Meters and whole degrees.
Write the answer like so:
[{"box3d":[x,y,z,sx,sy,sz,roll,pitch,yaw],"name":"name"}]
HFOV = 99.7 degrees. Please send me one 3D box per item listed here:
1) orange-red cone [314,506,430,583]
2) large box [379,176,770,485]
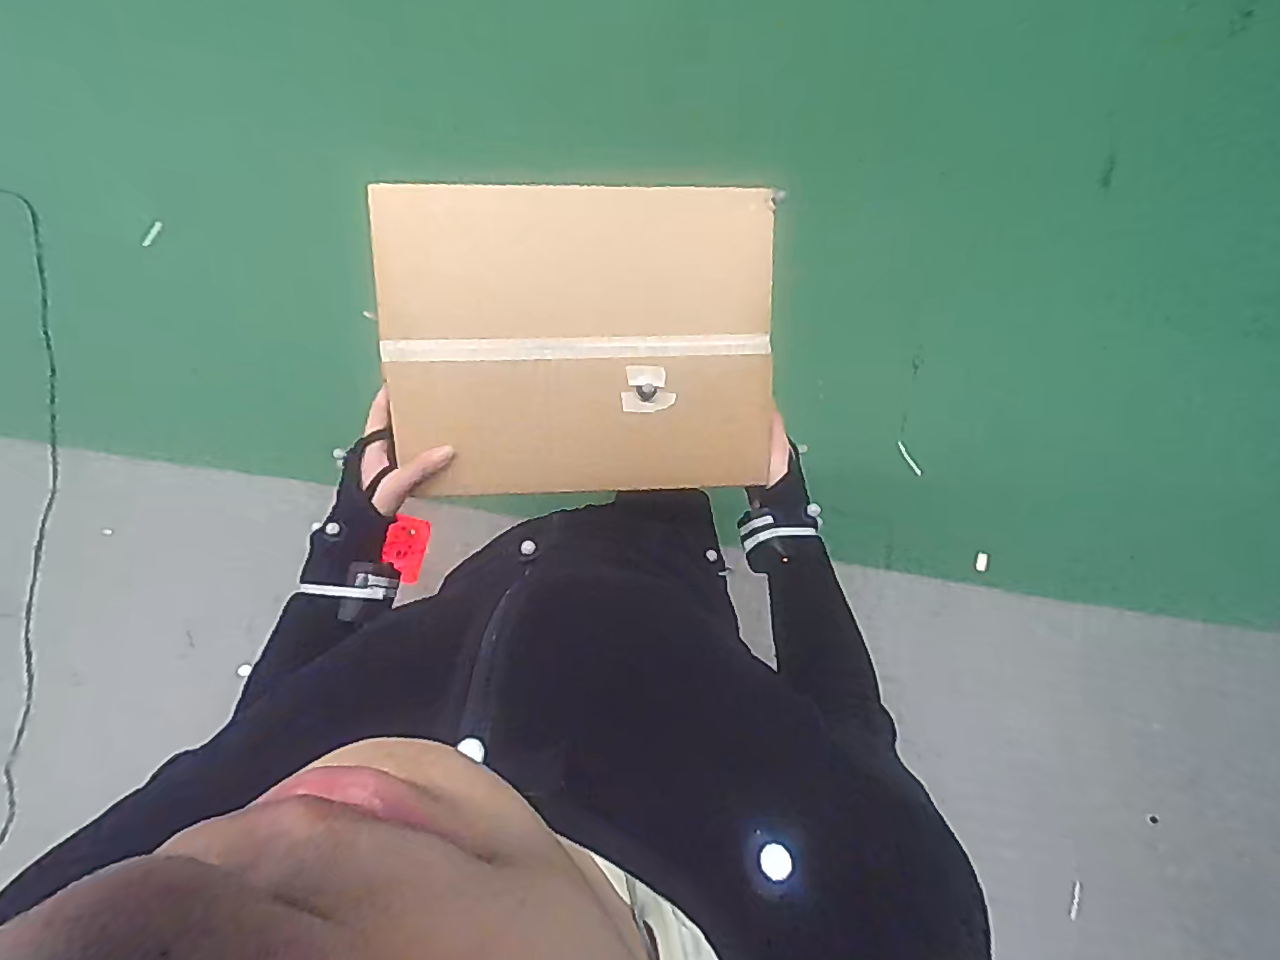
[{"box3d":[-0.754,0.190,1.458,0.199,0.360,0.198,16,89,2],"name":"orange-red cone"},{"box3d":[-0.072,-0.183,0.721,0.408,0.320,0.320,-2,102,-5],"name":"large box"}]
